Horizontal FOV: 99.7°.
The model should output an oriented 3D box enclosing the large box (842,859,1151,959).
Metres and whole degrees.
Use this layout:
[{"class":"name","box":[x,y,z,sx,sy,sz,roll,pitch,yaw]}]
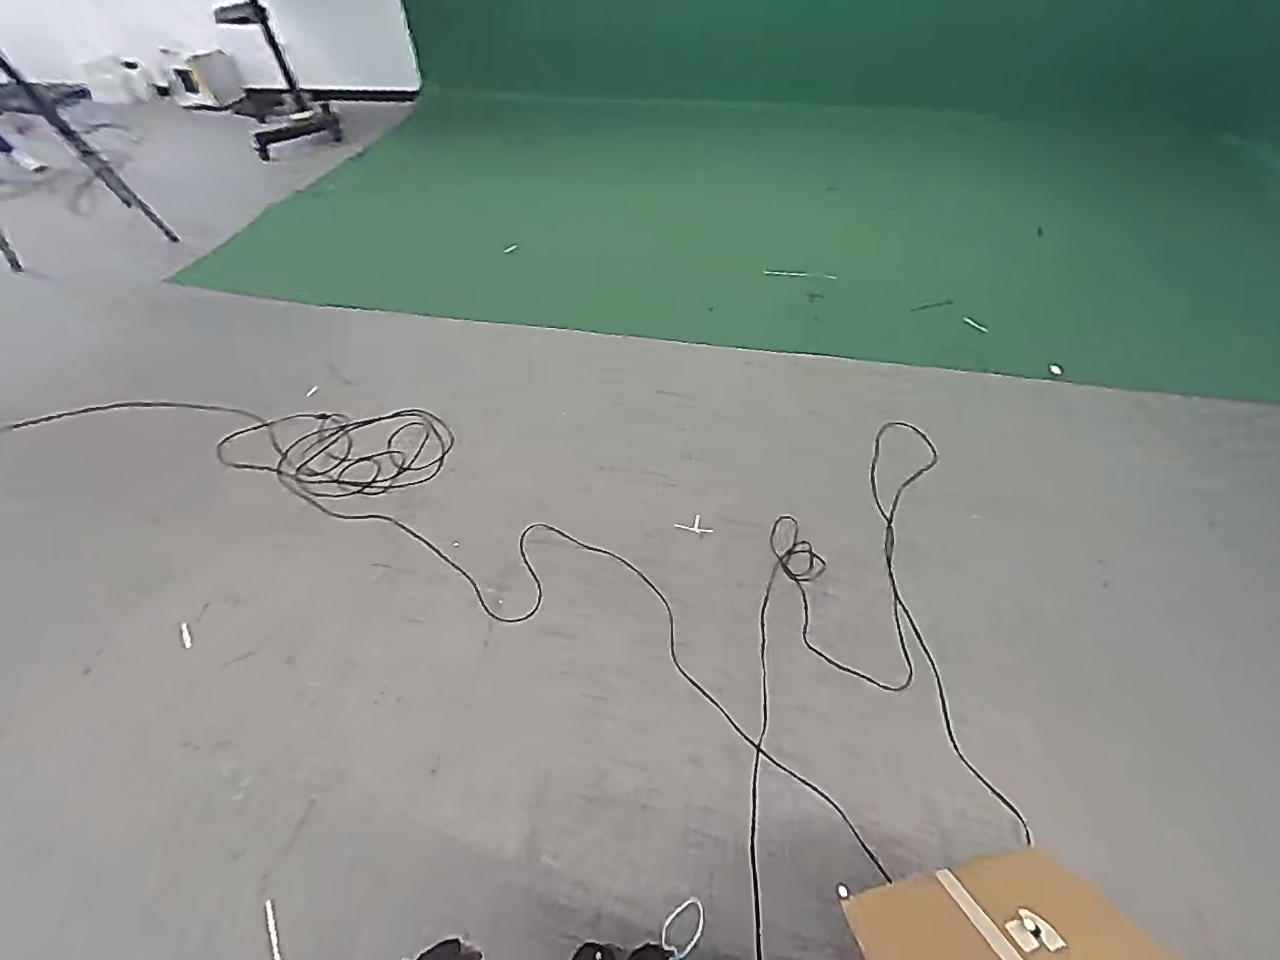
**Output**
[{"class":"large box","box":[0.483,0.736,0.598,0.320,0.408,0.320,-14,86,0]}]
